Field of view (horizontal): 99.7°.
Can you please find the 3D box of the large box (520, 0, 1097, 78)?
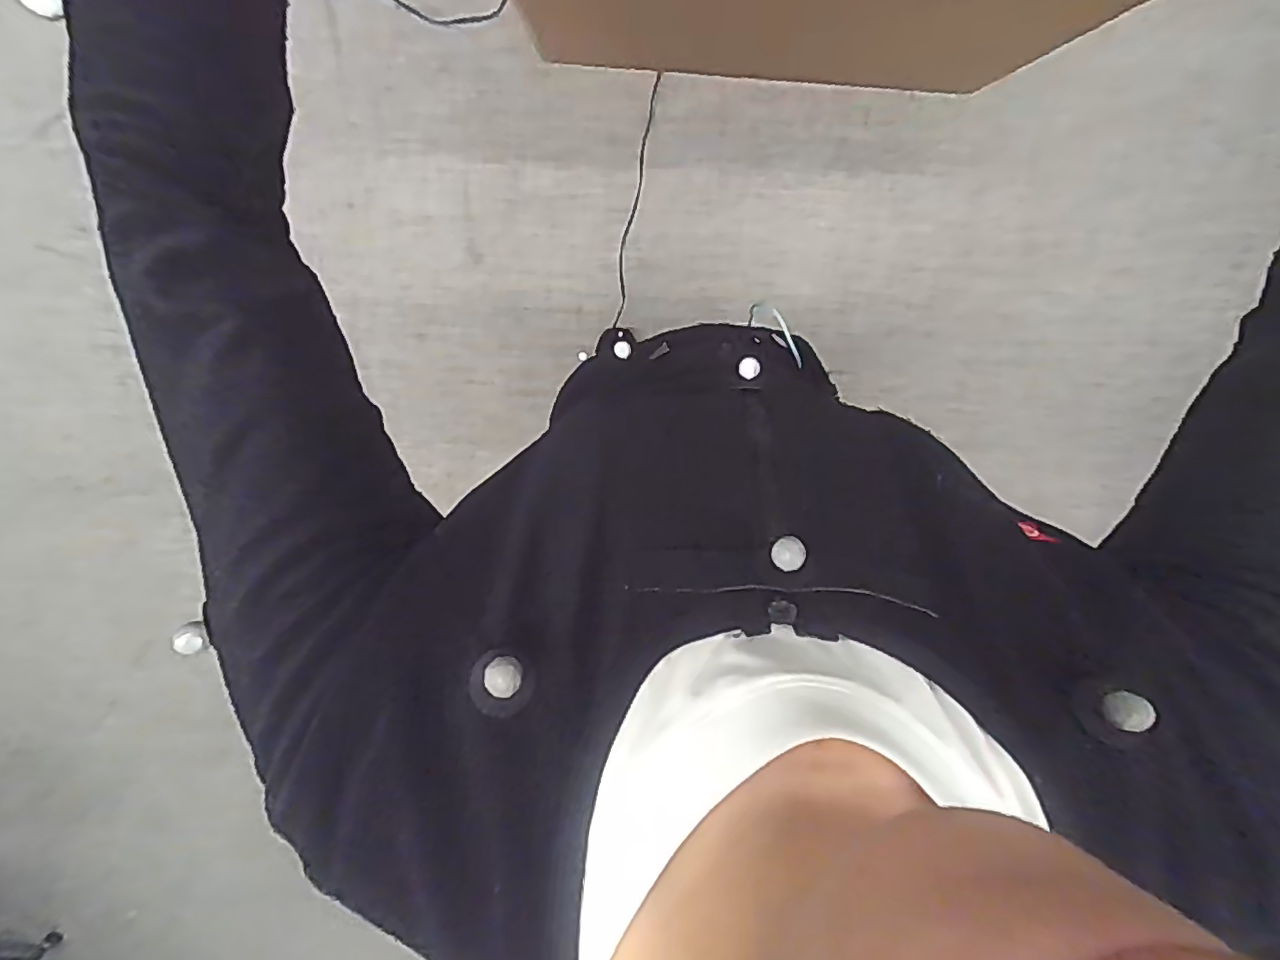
[{"bbox_3d":[0.113,-0.464,0.306,0.408,0.320,0.320,3,112,-1],"label":"large box"}]
